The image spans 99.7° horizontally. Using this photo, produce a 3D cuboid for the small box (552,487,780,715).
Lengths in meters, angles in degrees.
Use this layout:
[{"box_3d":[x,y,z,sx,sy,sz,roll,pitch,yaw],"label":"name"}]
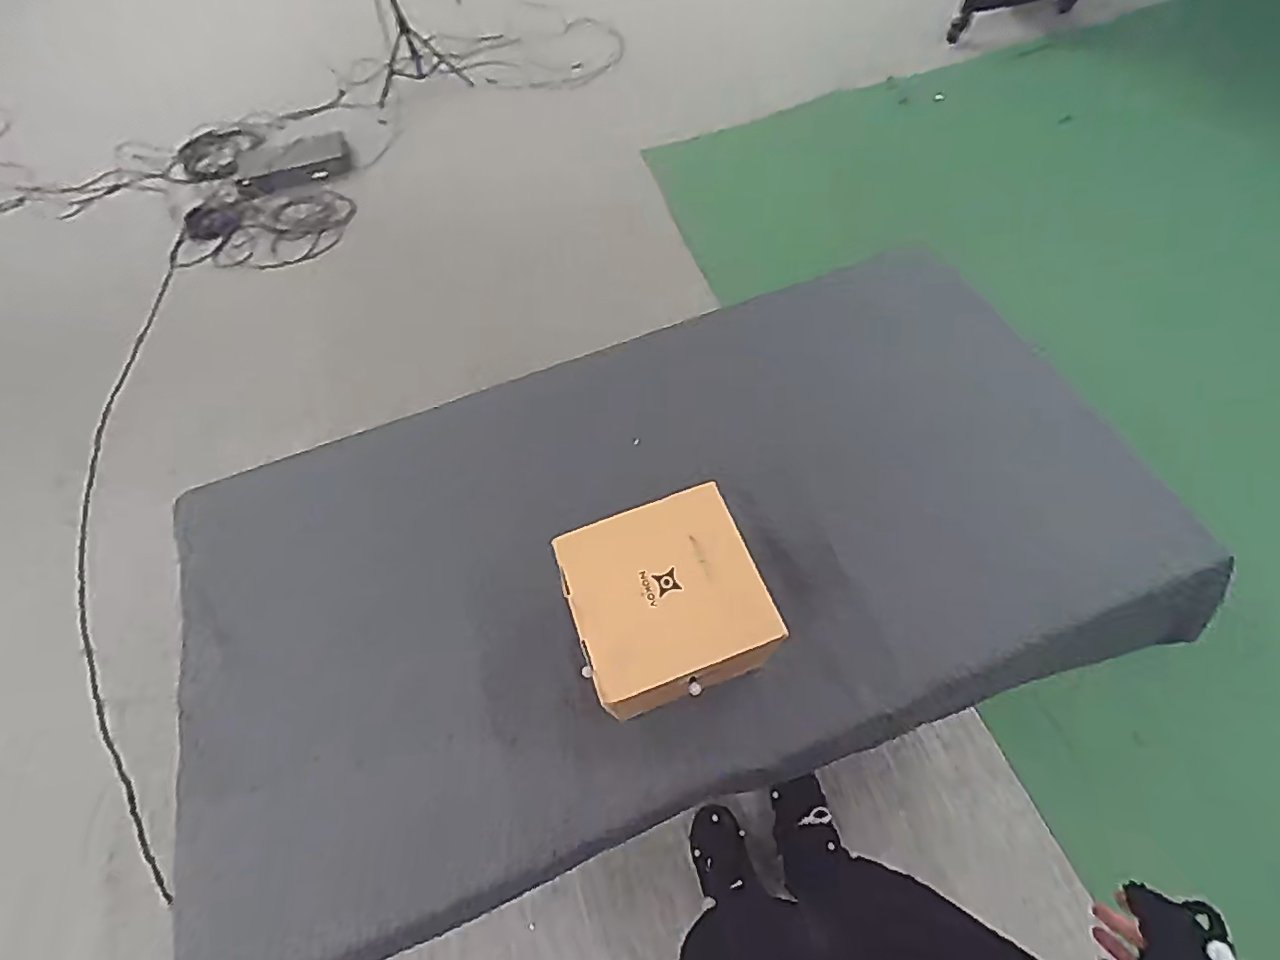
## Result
[{"box_3d":[0.024,0.138,0.578,0.179,0.176,0.168,-19,64,-7],"label":"small box"}]
